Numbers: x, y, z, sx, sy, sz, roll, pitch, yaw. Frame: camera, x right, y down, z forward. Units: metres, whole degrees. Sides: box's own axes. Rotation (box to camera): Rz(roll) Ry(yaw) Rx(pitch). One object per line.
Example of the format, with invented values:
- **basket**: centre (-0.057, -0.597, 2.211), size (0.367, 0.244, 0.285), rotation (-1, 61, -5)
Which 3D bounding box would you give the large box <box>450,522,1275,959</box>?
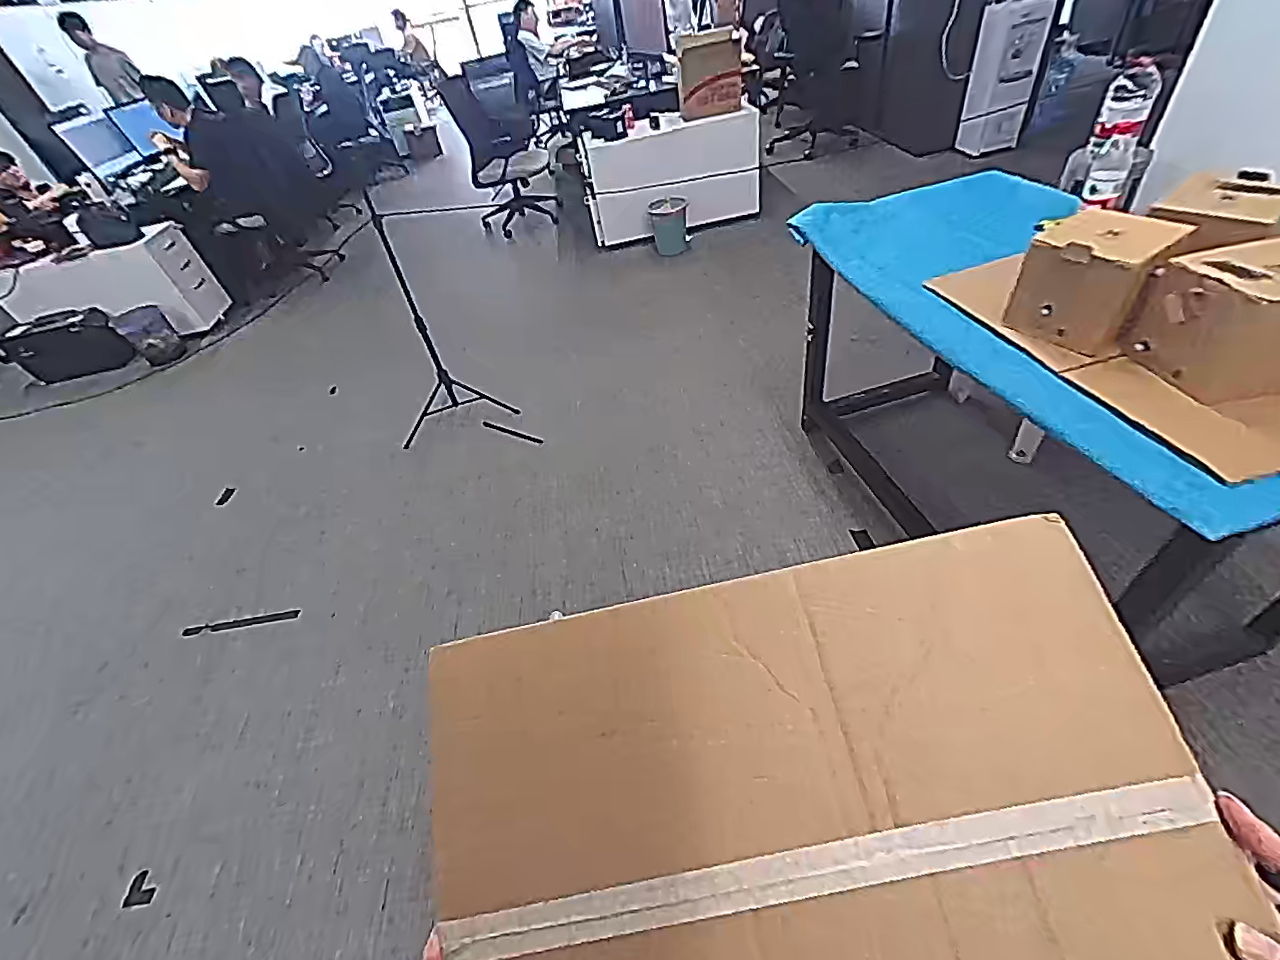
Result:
- **large box**: centre (0.112, 0.266, 0.428), size (0.408, 0.320, 0.320), rotation (-13, 67, 4)
